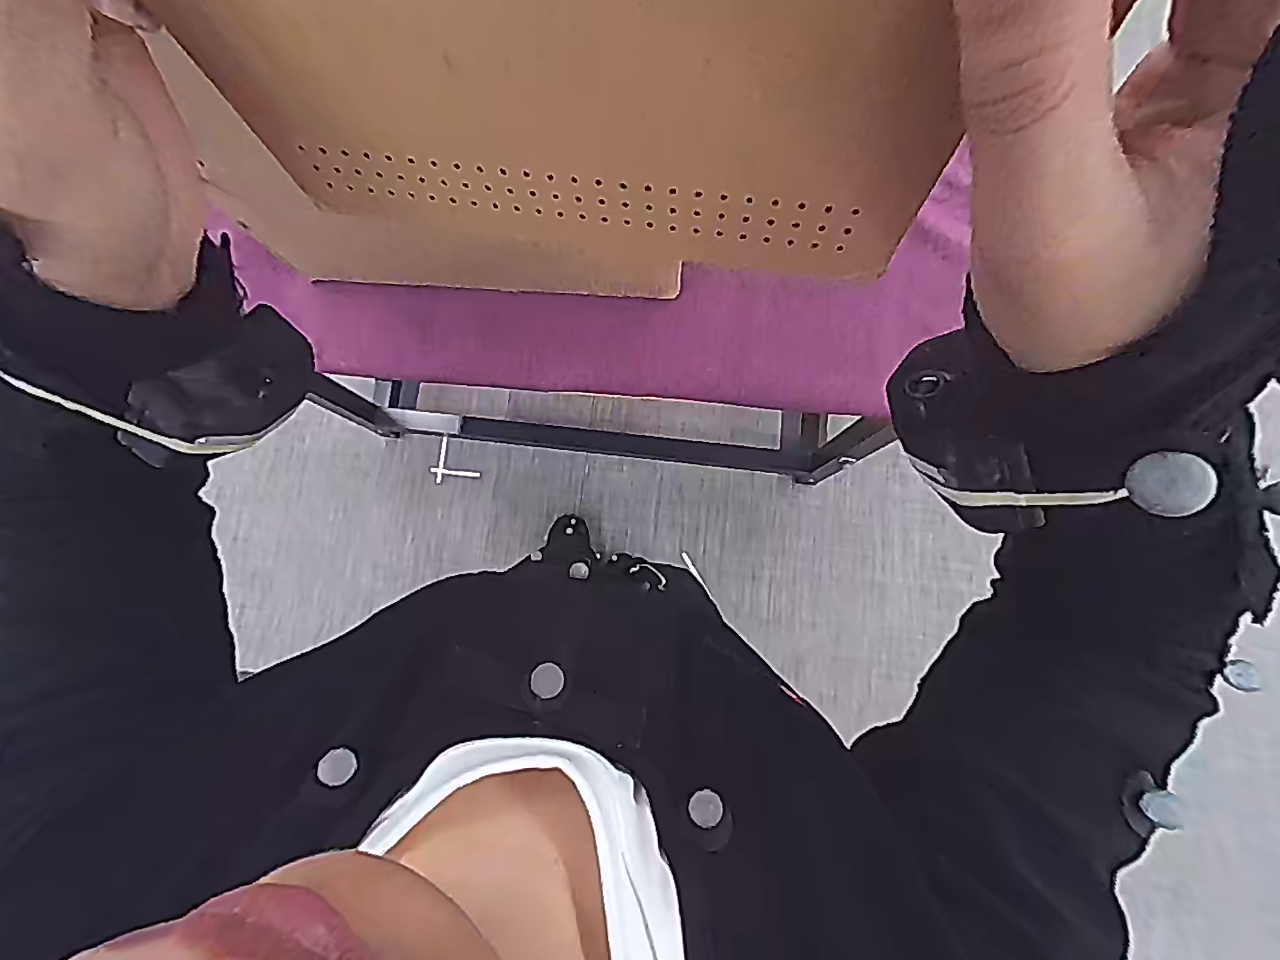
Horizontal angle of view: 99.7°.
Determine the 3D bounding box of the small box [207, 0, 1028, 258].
[{"bbox_3d":[-0.002,-0.169,0.104,0.179,0.176,0.168,10,76,6],"label":"small box"}]
